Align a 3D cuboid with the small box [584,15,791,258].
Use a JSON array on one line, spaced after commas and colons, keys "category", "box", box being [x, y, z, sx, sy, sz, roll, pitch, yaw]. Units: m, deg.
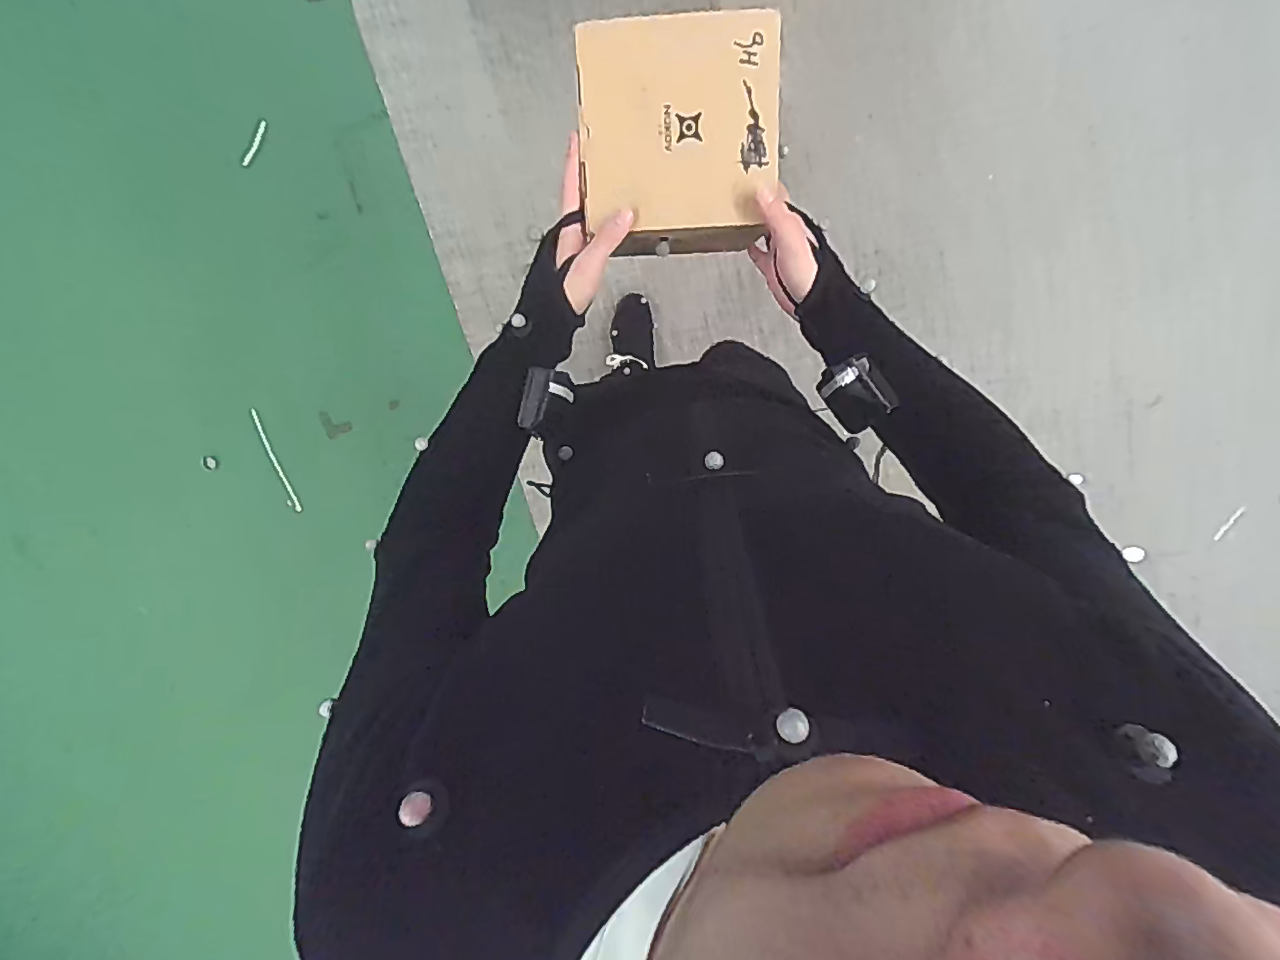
[{"category": "small box", "box": [0.044, -0.326, 0.549, 0.179, 0.176, 0.168, -2, 105, 2]}]
